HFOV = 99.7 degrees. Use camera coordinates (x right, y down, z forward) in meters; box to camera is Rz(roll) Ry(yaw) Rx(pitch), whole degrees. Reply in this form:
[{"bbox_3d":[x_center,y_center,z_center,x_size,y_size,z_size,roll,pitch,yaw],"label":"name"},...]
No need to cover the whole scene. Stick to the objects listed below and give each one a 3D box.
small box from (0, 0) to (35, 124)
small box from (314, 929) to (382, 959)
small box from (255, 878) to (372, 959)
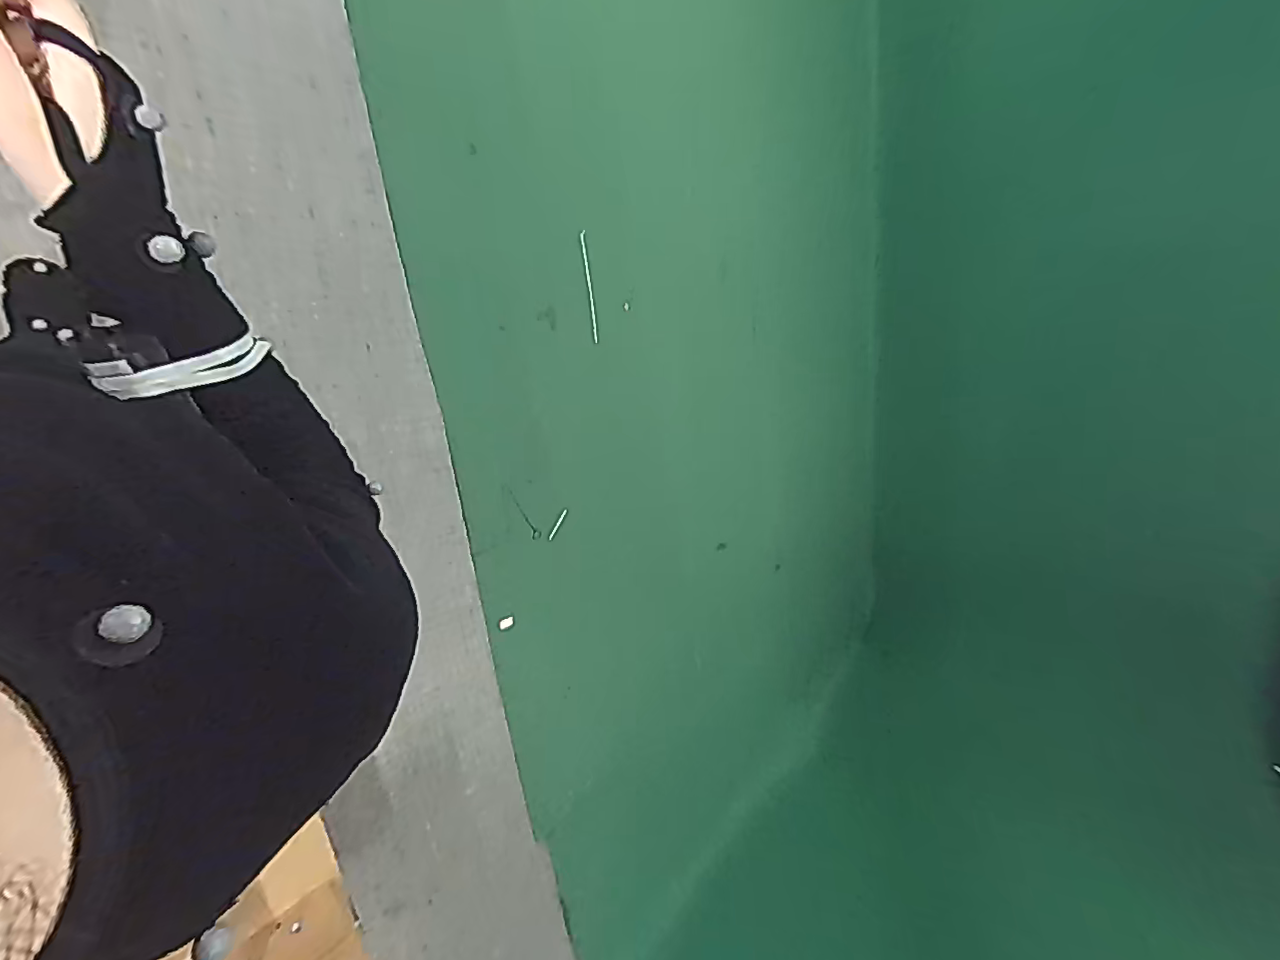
[{"bbox_3d":[-0.442,-0.239,0.236,0.179,0.176,0.168,45,71,-40],"label":"small box"},{"bbox_3d":[-0.555,1.009,1.010,0.168,0.176,0.179,-21,114,-44],"label":"small box"},{"bbox_3d":[-0.669,0.994,1.129,0.168,0.176,0.179,-23,116,-43],"label":"small box"}]
